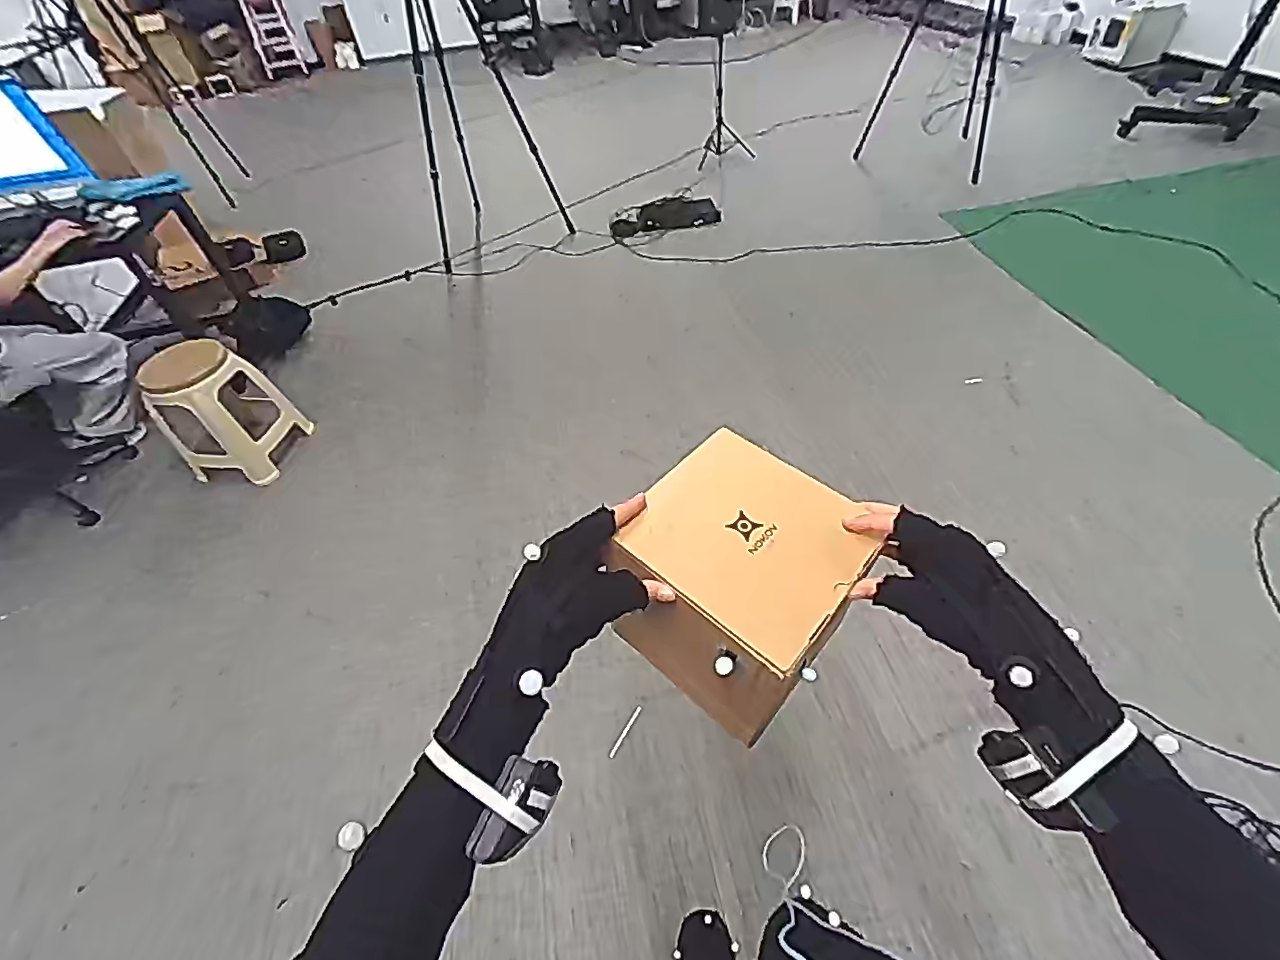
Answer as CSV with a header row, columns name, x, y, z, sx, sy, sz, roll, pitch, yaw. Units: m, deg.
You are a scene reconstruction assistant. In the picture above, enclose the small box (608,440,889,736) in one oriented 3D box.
name,x,y,z,sx,sy,sz,roll,pitch,yaw
small box,0.088,0.101,0.503,0.179,0.176,0.168,35,57,26
